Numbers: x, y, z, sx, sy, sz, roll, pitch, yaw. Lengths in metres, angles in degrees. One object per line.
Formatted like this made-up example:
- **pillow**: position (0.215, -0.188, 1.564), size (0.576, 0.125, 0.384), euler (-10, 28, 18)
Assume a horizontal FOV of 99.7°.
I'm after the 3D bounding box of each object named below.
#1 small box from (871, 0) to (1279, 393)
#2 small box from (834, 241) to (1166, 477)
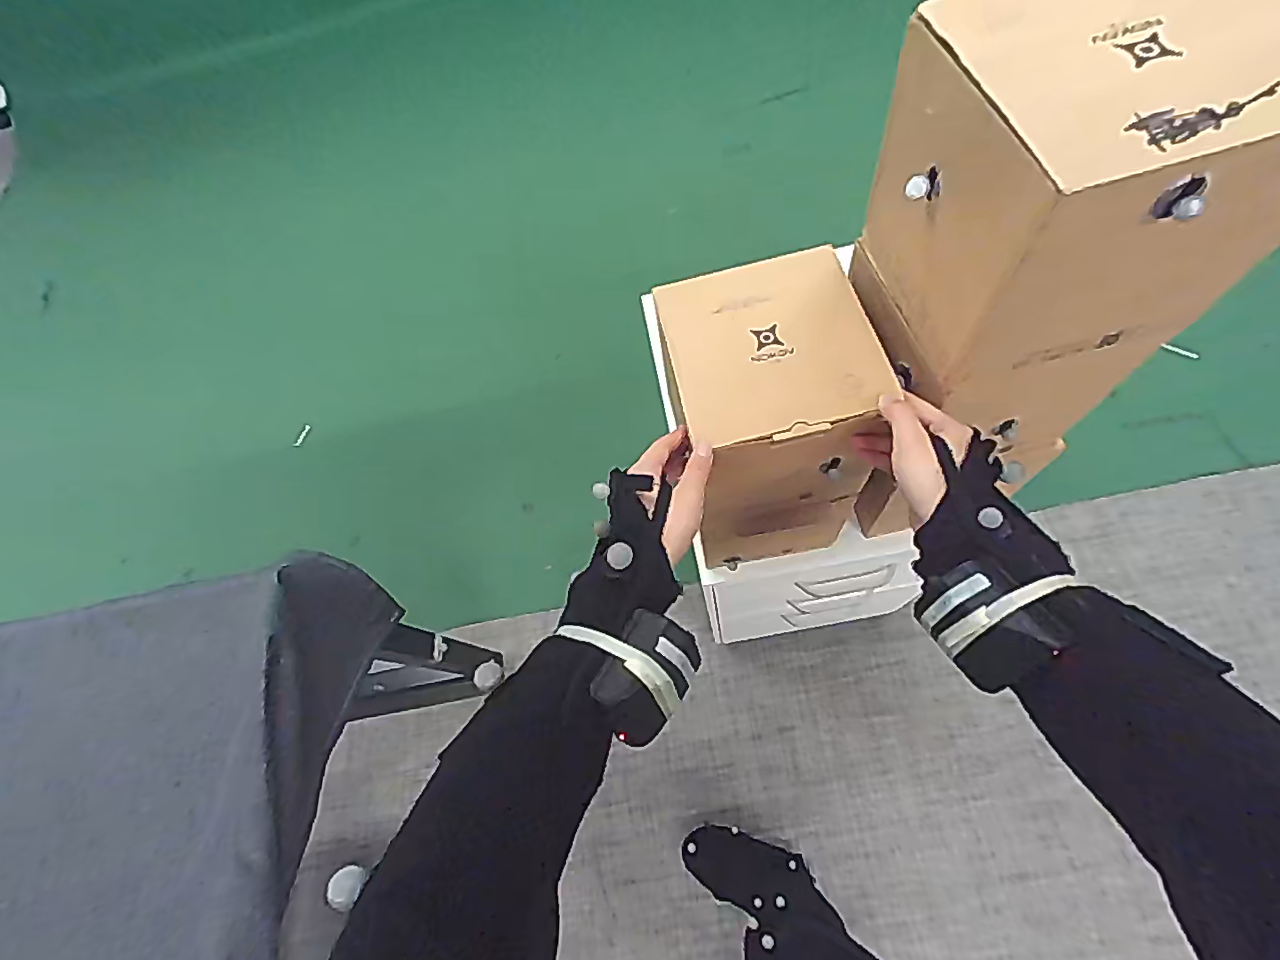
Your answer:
- **small box**: position (0.273, -0.187, 0.355), size (0.168, 0.176, 0.179), euler (-13, 62, 4)
- **small box**: position (0.299, -0.118, 0.501), size (0.168, 0.176, 0.179), euler (-15, 63, 3)
